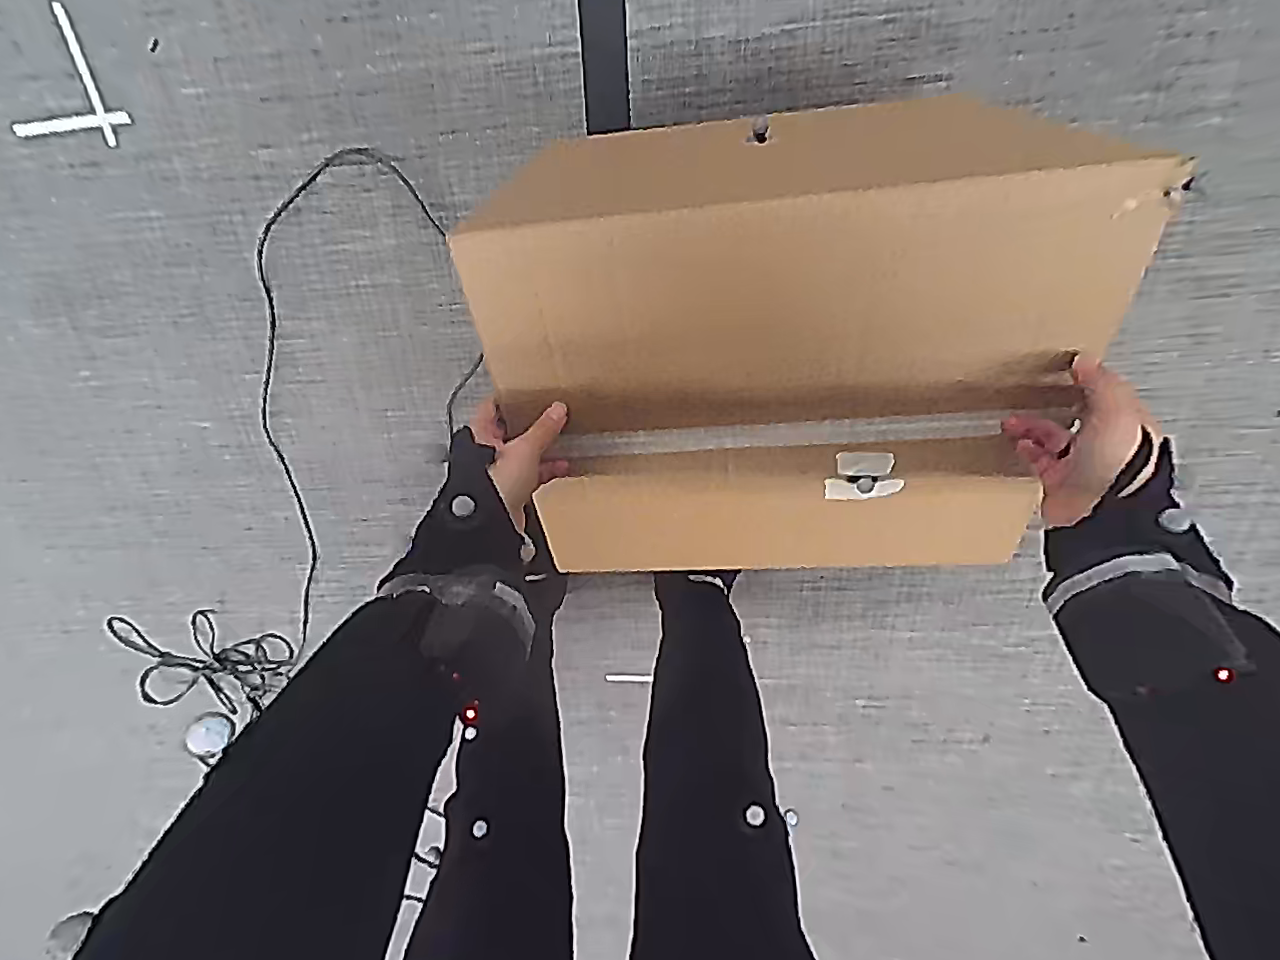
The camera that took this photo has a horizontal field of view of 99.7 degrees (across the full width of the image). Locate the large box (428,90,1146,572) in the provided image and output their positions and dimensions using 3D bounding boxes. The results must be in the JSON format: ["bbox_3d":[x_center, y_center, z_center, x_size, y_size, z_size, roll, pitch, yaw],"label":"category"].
[{"bbox_3d":[0.091,-0.139,0.508,0.408,0.320,0.320,-4,131,7],"label":"large box"}]
